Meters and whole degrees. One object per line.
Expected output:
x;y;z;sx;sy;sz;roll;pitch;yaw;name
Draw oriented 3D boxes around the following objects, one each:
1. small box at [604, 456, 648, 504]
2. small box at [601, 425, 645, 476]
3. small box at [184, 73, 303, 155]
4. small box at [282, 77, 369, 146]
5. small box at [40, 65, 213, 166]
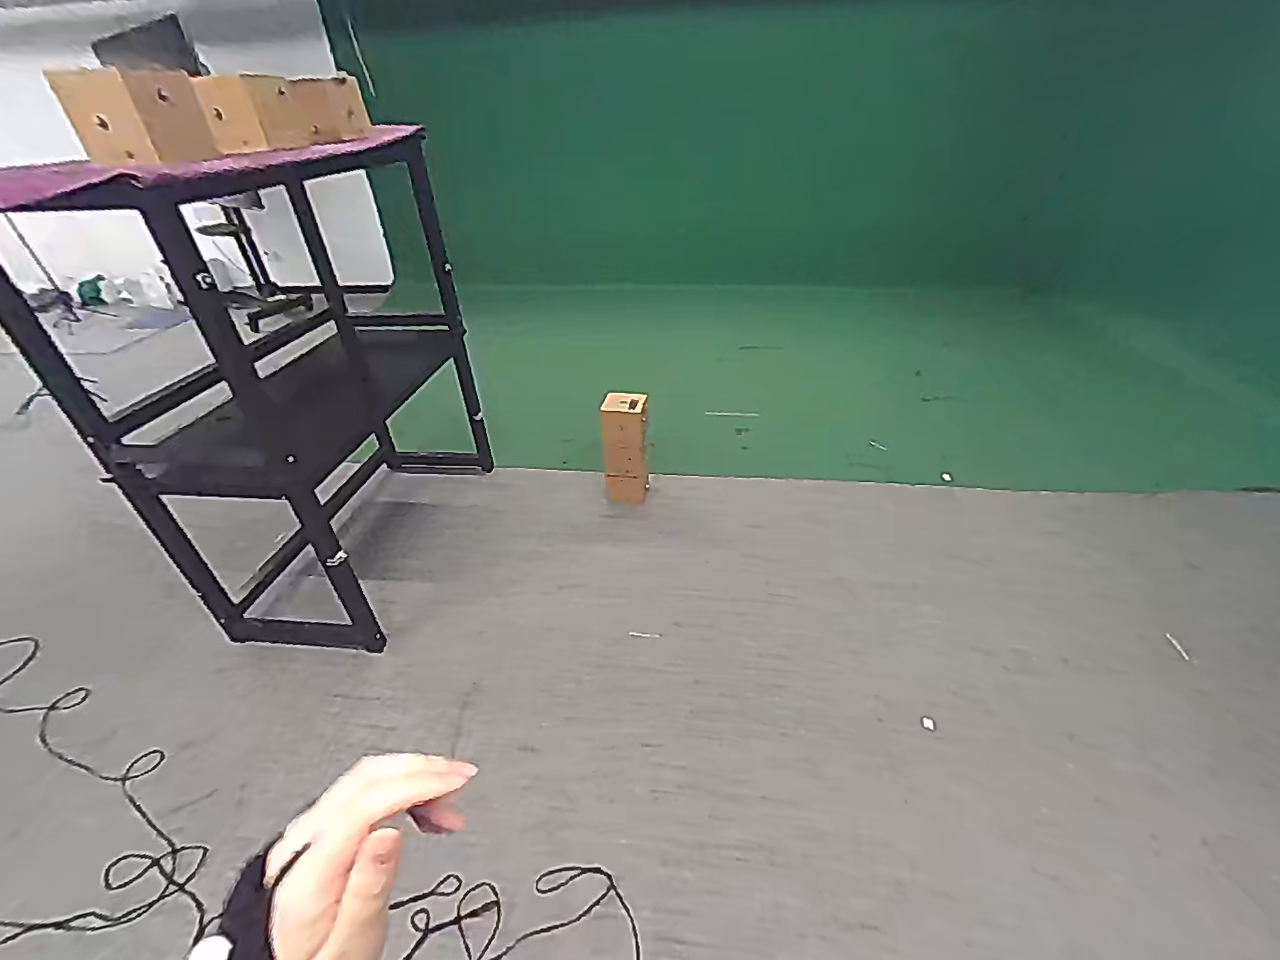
-0.064;-0.004;2.533;0.179;0.176;0.168;5;36;9;small box
-0.072;-0.132;2.434;0.168;0.176;0.179;4;35;8;small box
-1.053;-0.978;1.452;0.168;0.176;0.179;1;35;8;small box
-1.015;-1.189;1.744;0.179;0.176;0.168;5;37;13;small box
-1.074;-0.773;1.153;0.168;0.176;0.179;3;35;6;small box
